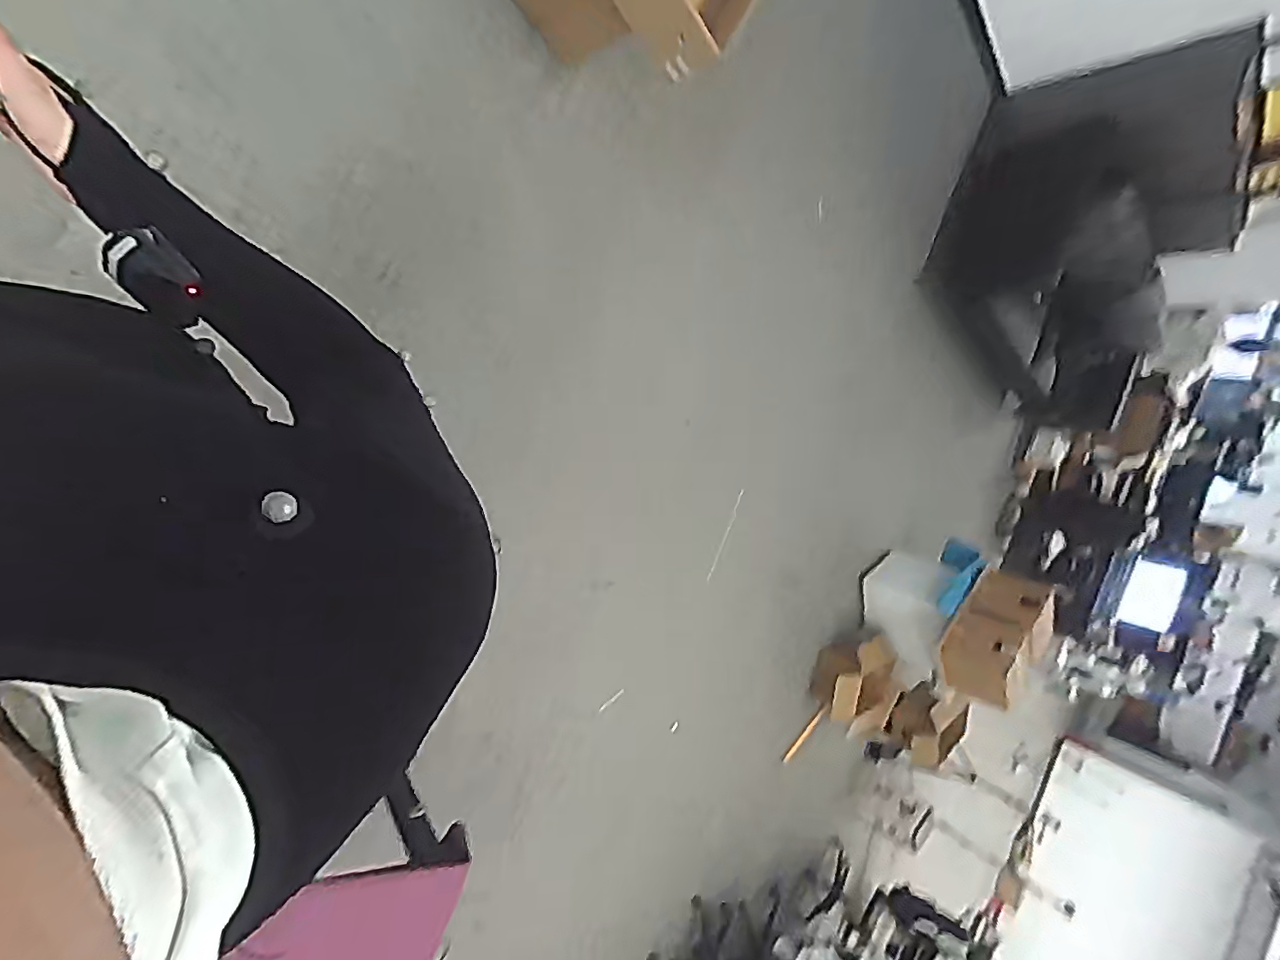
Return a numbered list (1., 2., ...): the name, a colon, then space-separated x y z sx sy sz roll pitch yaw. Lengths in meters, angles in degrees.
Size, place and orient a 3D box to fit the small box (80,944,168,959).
1. small box: -0.773 0.796 0.732 0.168 0.176 0.179 23 90 -41
